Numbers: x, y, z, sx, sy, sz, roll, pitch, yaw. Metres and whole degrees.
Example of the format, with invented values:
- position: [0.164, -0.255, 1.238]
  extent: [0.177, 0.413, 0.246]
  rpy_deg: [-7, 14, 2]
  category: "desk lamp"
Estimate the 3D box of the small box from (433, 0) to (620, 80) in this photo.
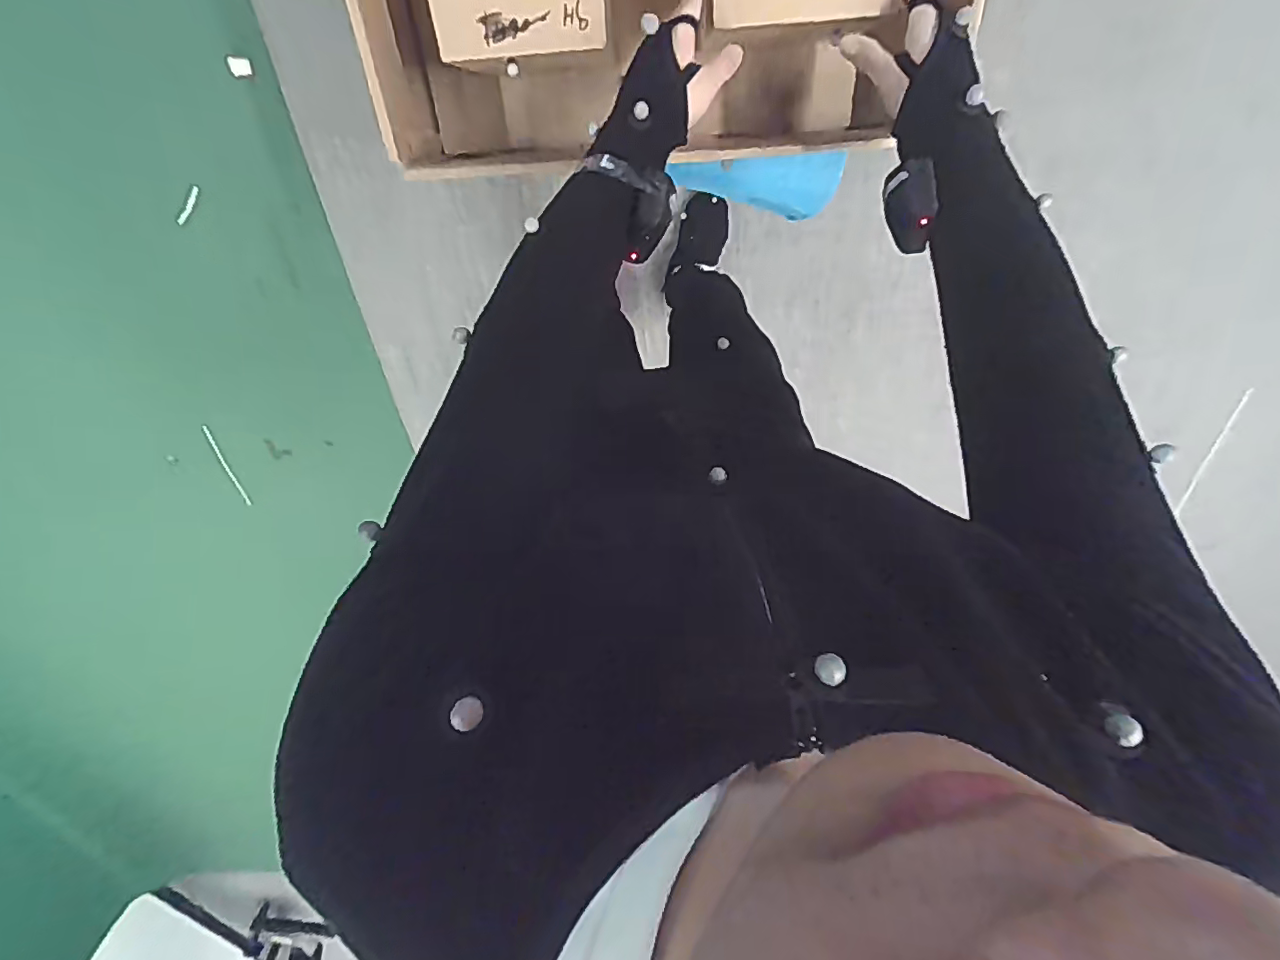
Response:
- position: [-0.111, -0.525, 0.544]
  extent: [0.168, 0.176, 0.179]
  rpy_deg: [-2, 122, 4]
  category: "small box"
